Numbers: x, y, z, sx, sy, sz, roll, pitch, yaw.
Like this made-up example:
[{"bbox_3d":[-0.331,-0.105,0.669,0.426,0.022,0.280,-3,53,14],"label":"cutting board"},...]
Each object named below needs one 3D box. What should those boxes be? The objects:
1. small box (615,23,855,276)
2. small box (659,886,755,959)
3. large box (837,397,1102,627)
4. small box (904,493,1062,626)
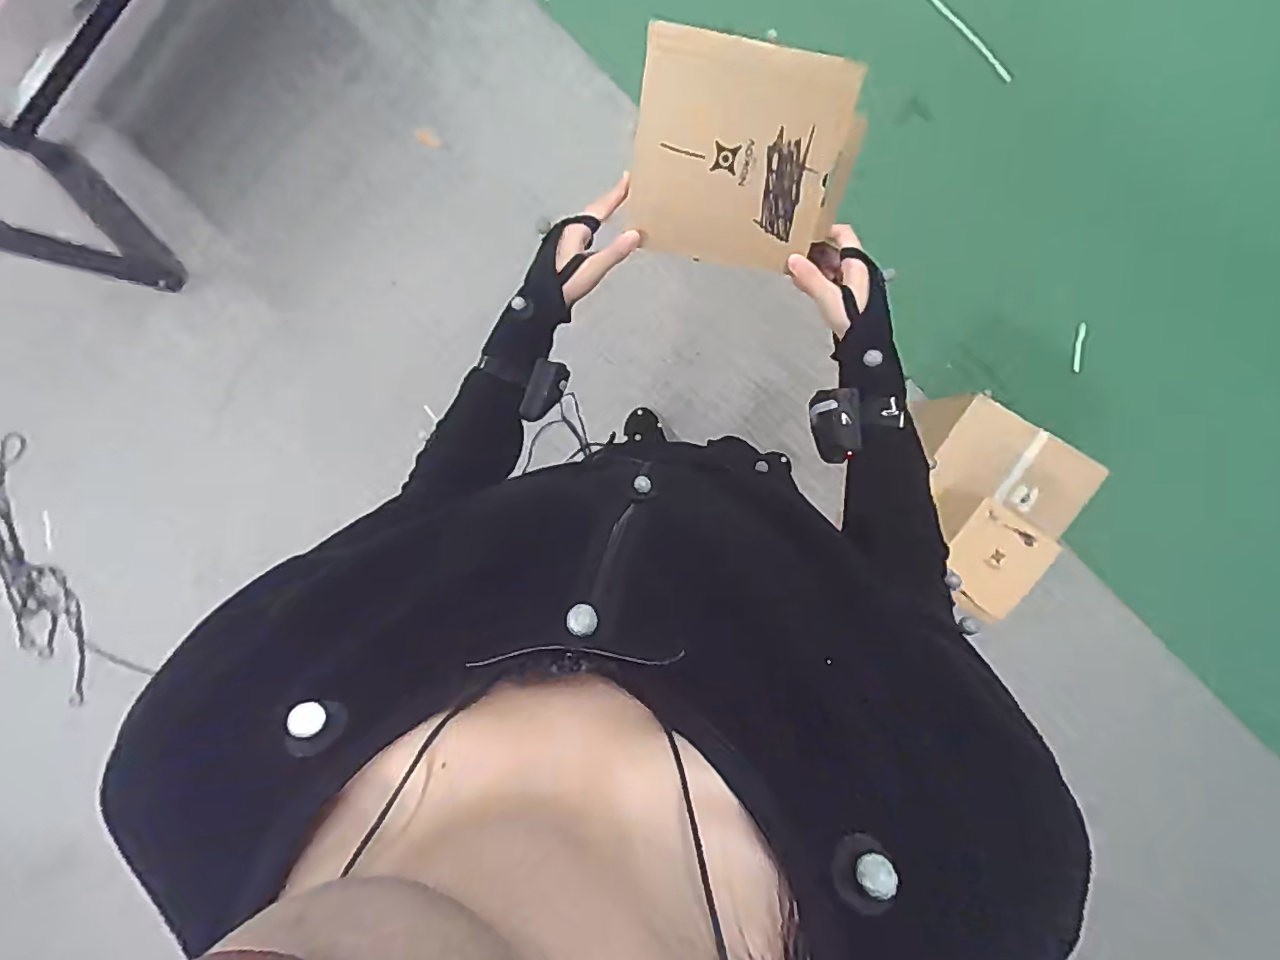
[{"bbox_3d":[0.076,-0.316,0.530,0.179,0.176,0.168,8,122,-3],"label":"small box"},{"bbox_3d":[0.156,1.070,1.210,0.168,0.176,0.179,-25,94,8],"label":"small box"},{"bbox_3d":[0.740,0.062,1.290,0.320,0.320,0.408,32,97,2],"label":"large box"},{"bbox_3d":[0.651,0.146,1.059,0.168,0.176,0.179,37,99,2],"label":"small box"}]
